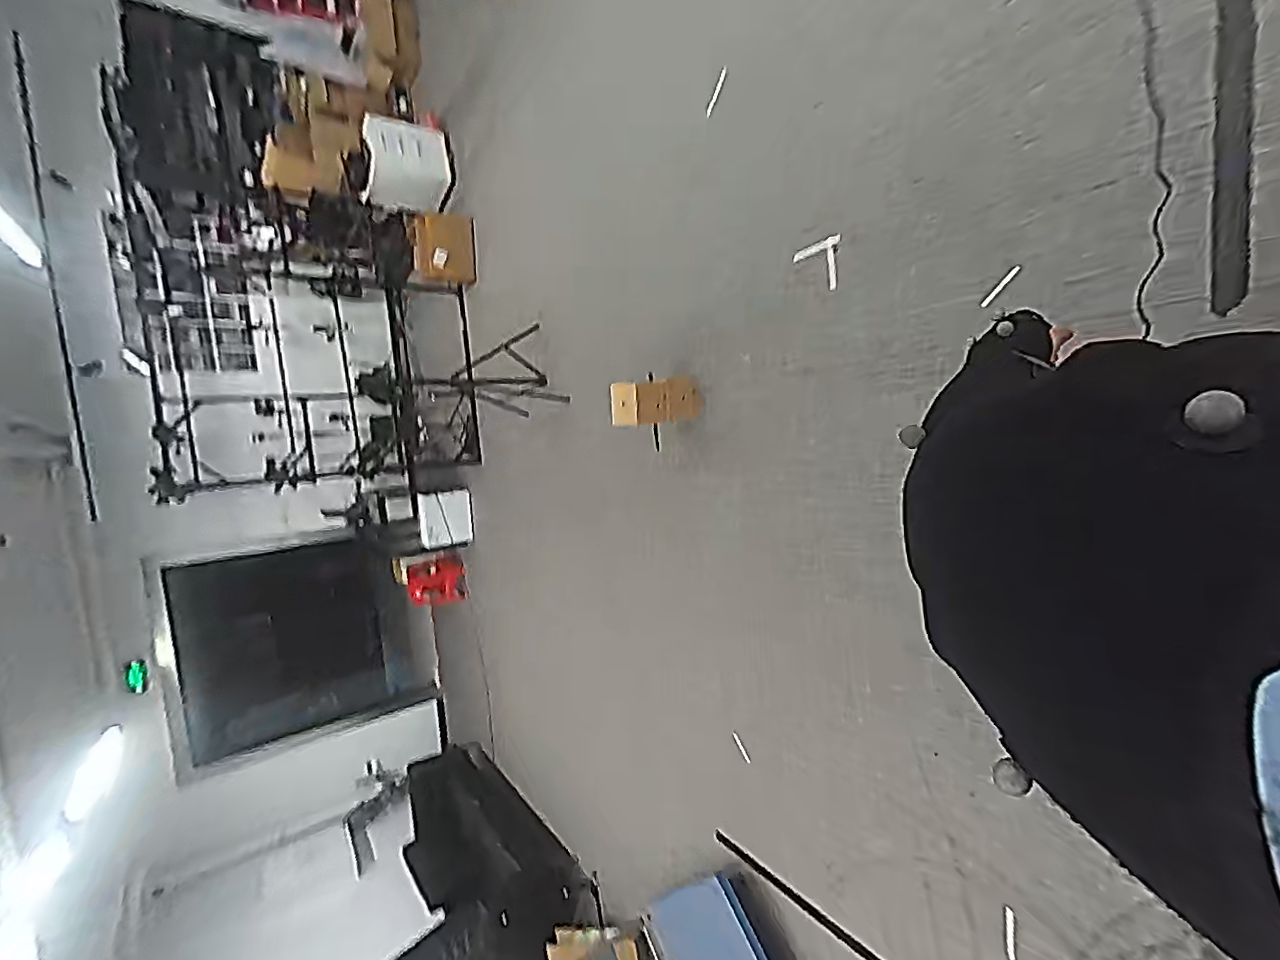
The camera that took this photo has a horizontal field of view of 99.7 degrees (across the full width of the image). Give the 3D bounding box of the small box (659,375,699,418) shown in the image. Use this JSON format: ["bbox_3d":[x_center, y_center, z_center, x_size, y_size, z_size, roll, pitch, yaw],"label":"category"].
[{"bbox_3d":[0.137,-0.350,2.281,0.179,0.176,0.168,-1,95,55],"label":"small box"}]

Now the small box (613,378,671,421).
[{"bbox_3d":[0.008,-0.325,2.185,0.179,0.176,0.168,10,105,53],"label":"small box"}]
